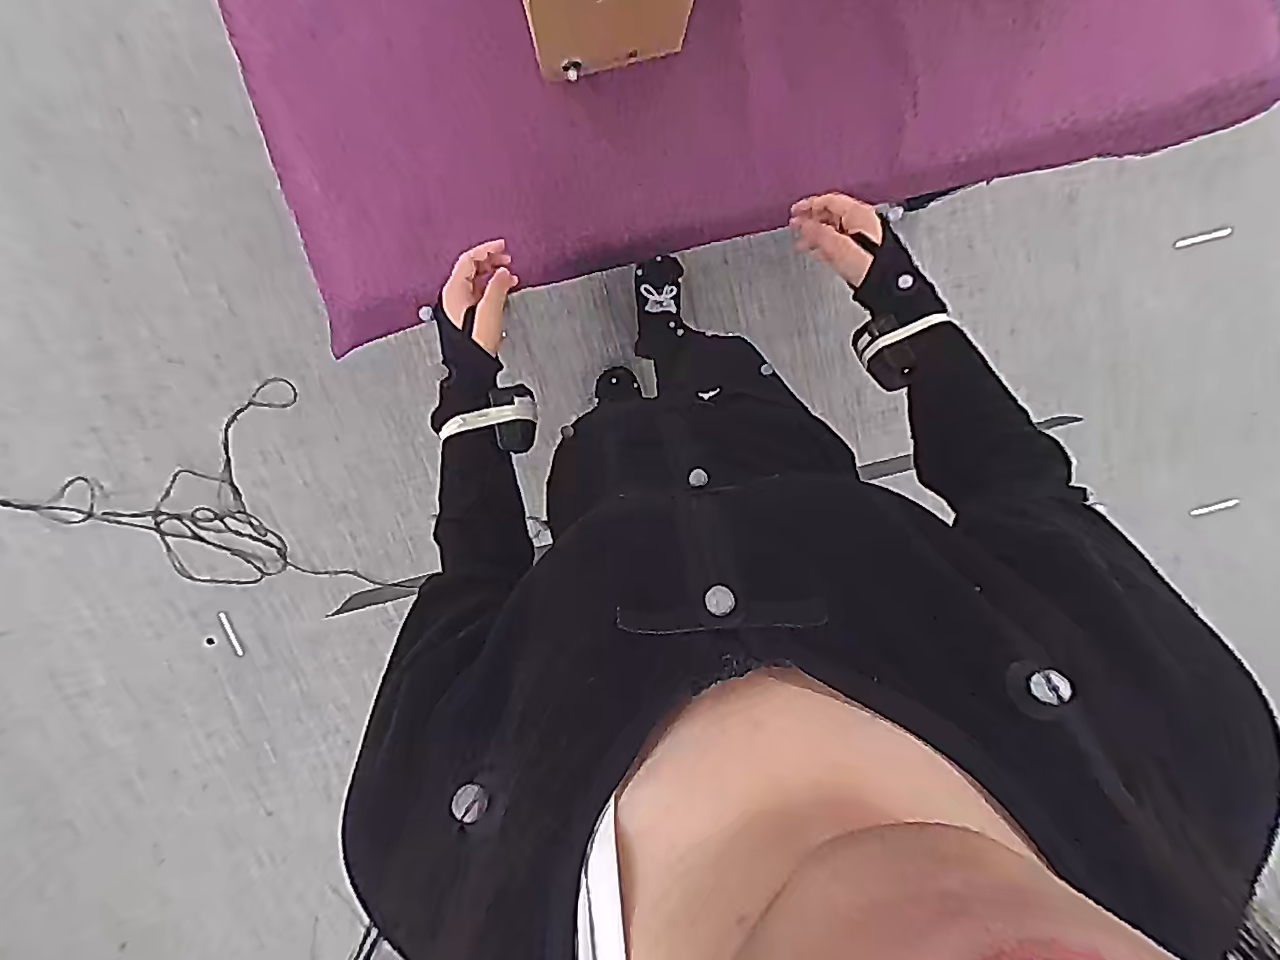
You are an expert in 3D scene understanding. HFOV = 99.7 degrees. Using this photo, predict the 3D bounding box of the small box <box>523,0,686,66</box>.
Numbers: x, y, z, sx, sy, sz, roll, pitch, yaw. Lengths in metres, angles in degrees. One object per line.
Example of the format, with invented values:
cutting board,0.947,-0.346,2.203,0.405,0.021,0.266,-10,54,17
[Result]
small box,-0.046,-0.548,0.530,0.168,0.176,0.179,-15,103,-1
